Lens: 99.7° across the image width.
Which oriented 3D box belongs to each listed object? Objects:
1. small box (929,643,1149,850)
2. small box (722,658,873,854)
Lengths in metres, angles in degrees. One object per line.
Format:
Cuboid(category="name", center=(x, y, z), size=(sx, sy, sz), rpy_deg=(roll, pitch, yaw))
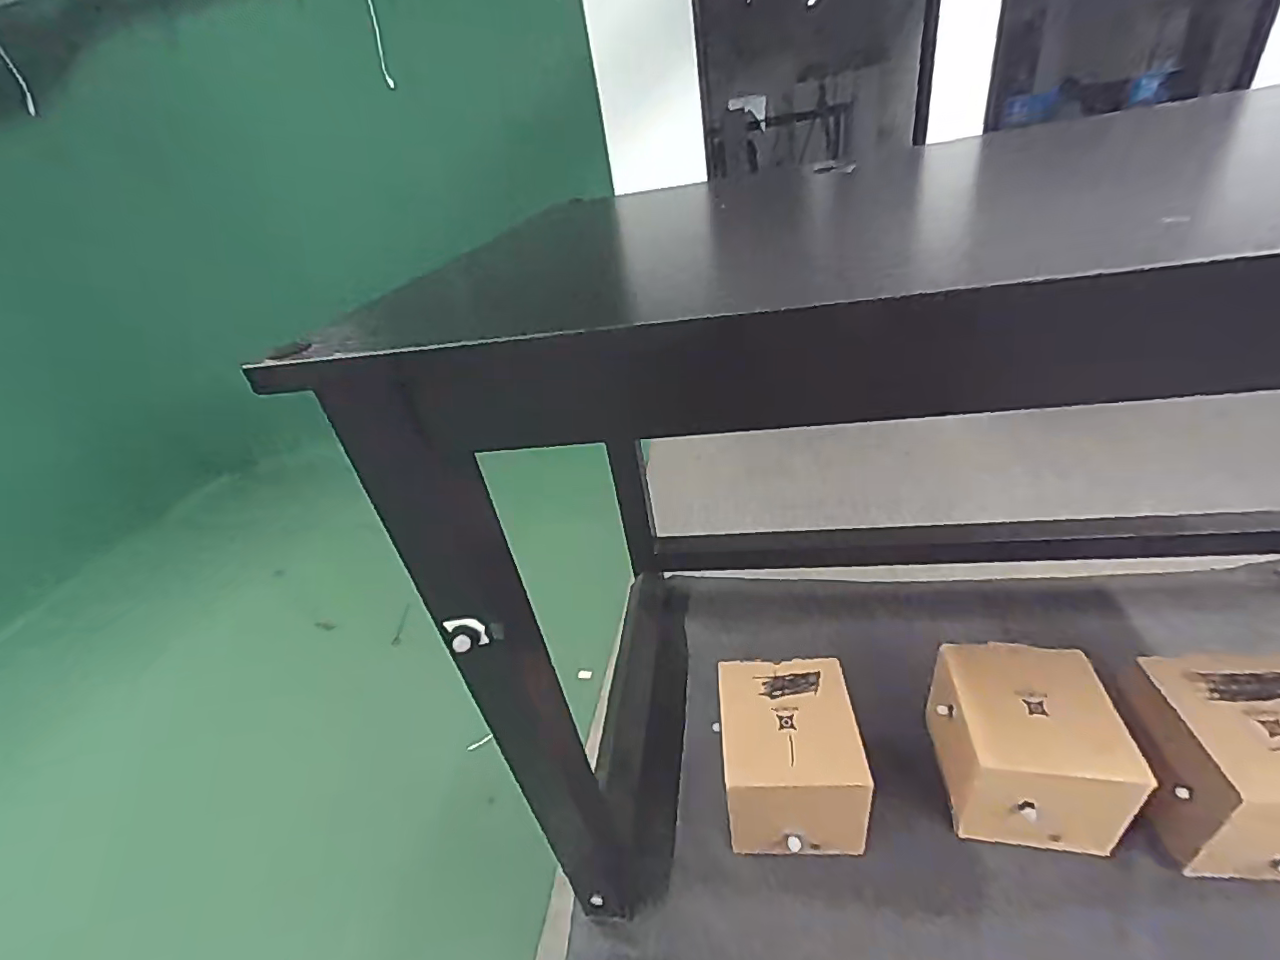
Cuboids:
Cuboid(category="small box", center=(0.485, 0.336, 0.693), size=(0.168, 0.176, 0.179), rpy_deg=(-1, 33, 15))
Cuboid(category="small box", center=(0.199, 0.366, 0.727), size=(0.168, 0.176, 0.179), rpy_deg=(-5, 33, 8))
